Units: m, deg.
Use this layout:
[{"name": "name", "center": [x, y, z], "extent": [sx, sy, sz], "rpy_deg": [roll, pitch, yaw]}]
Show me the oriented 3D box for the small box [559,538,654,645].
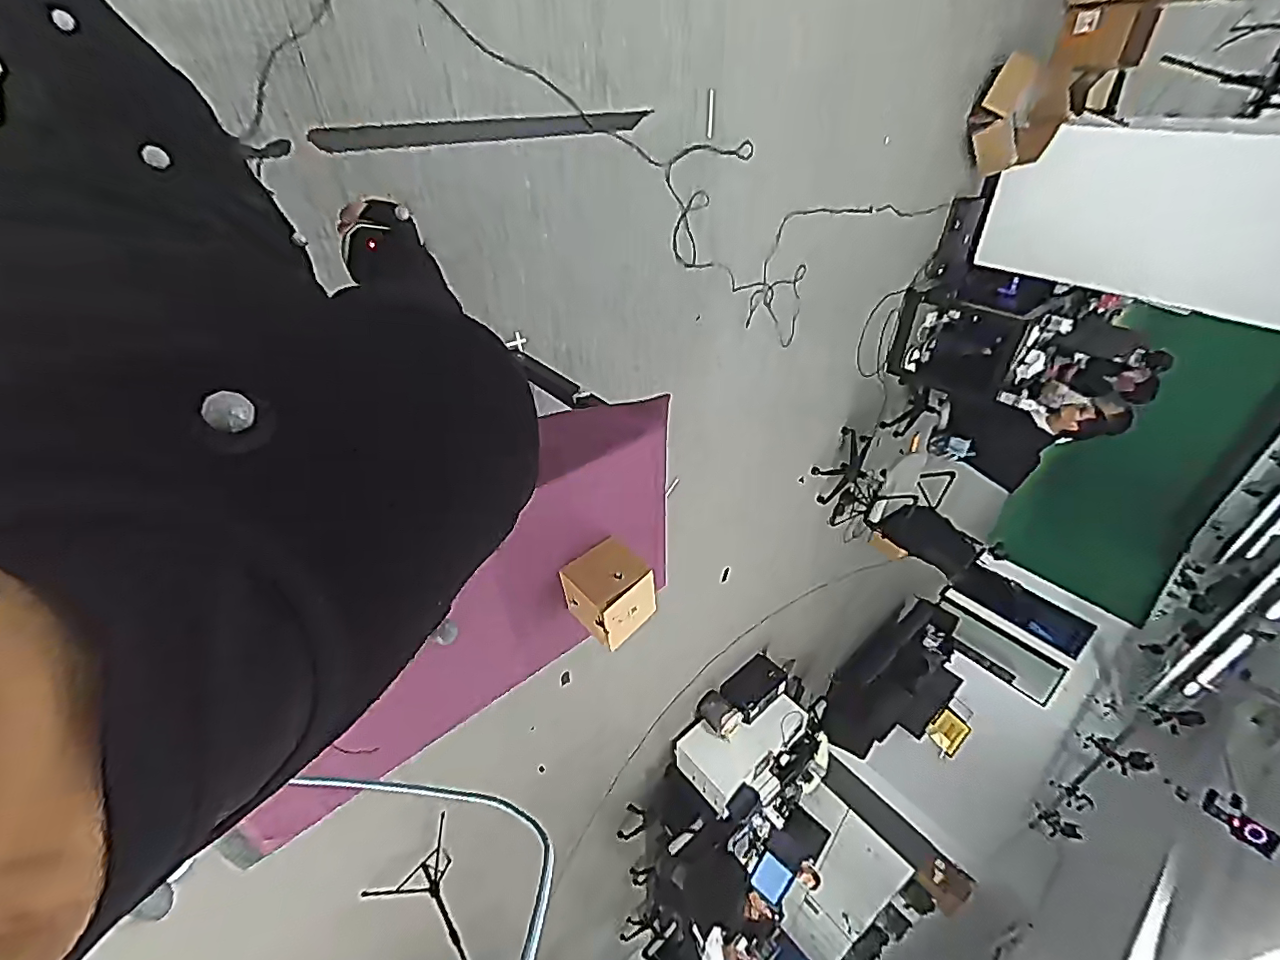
[{"name": "small box", "center": [-0.085, 0.282, 1.405], "extent": [0.179, 0.176, 0.168], "rpy_deg": [-30, 135, -28]}]
